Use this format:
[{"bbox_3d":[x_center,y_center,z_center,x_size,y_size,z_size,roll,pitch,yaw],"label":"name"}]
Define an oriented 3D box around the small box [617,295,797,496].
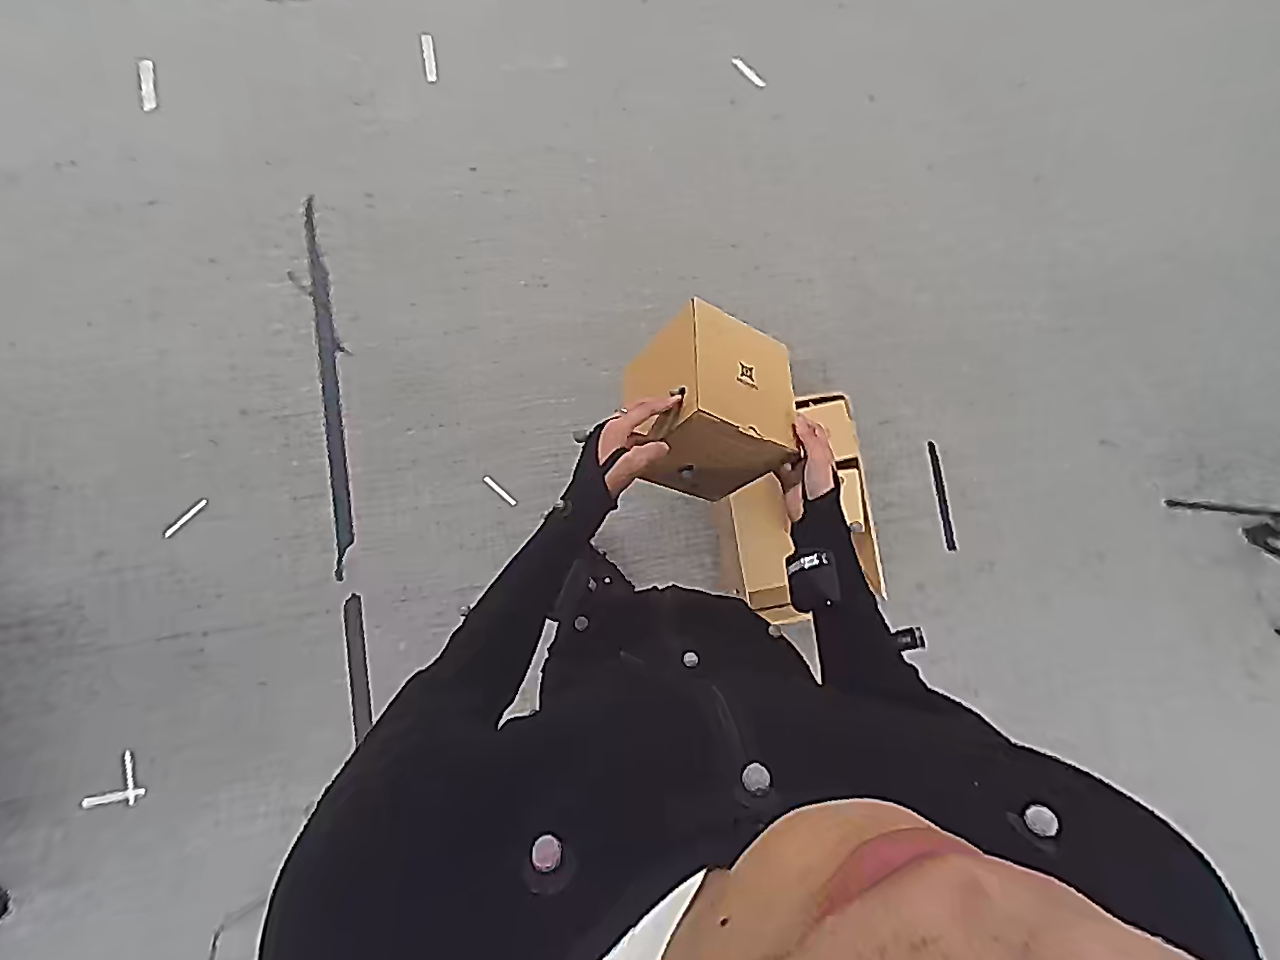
[{"bbox_3d":[0.079,-0.100,0.720,0.168,0.176,0.179,15,59,-29],"label":"small box"}]
